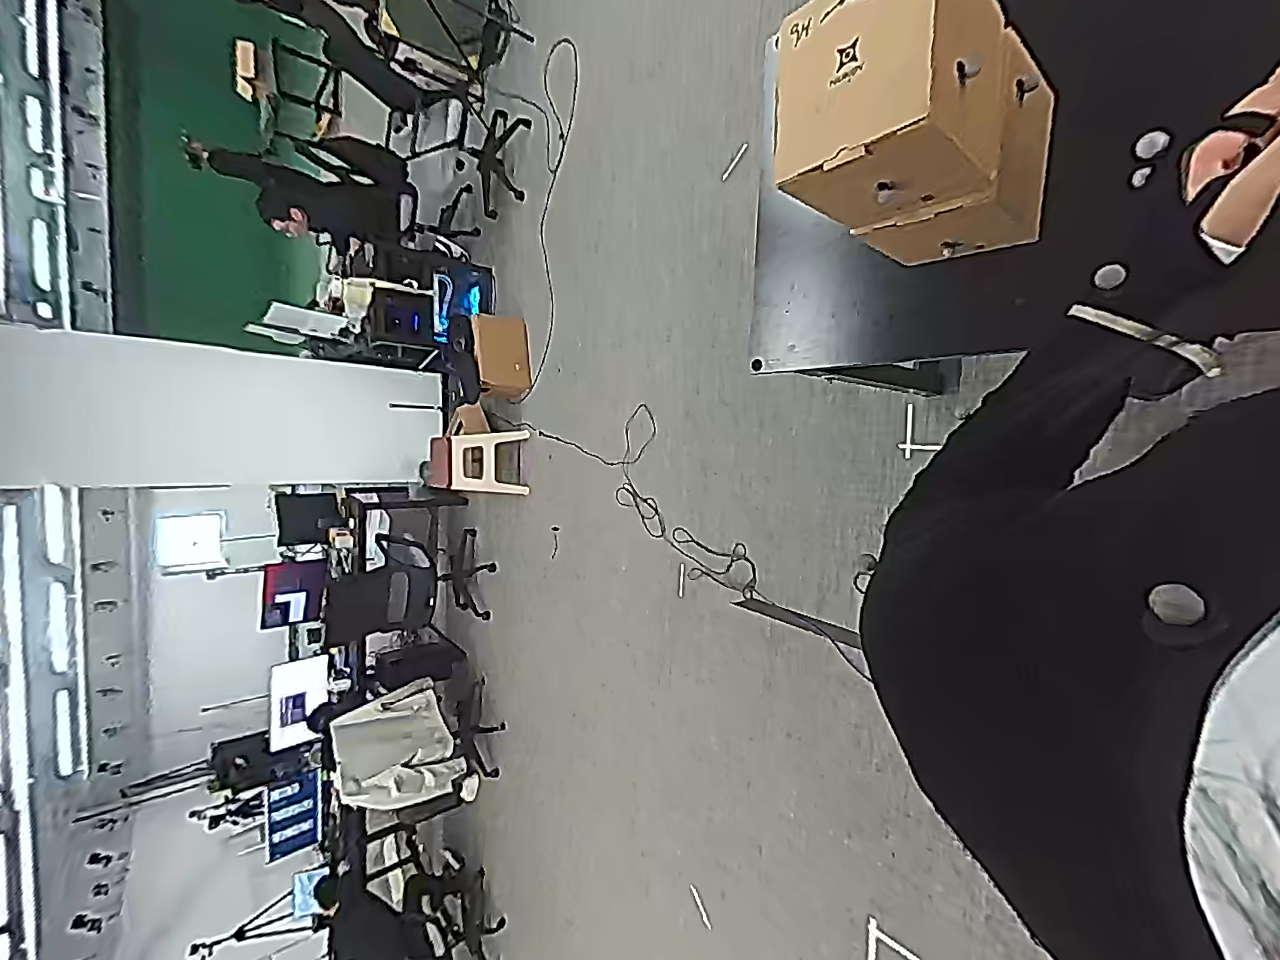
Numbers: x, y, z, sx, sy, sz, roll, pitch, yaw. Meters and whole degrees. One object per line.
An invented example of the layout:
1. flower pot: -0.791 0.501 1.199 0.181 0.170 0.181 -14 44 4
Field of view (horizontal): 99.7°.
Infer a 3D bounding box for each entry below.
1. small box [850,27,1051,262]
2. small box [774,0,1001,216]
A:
1. small box: 0.392 -0.398 0.682 0.168 0.176 0.179 10 99 50
2. small box: 0.263 -0.405 0.579 0.168 0.176 0.179 5 95 50
